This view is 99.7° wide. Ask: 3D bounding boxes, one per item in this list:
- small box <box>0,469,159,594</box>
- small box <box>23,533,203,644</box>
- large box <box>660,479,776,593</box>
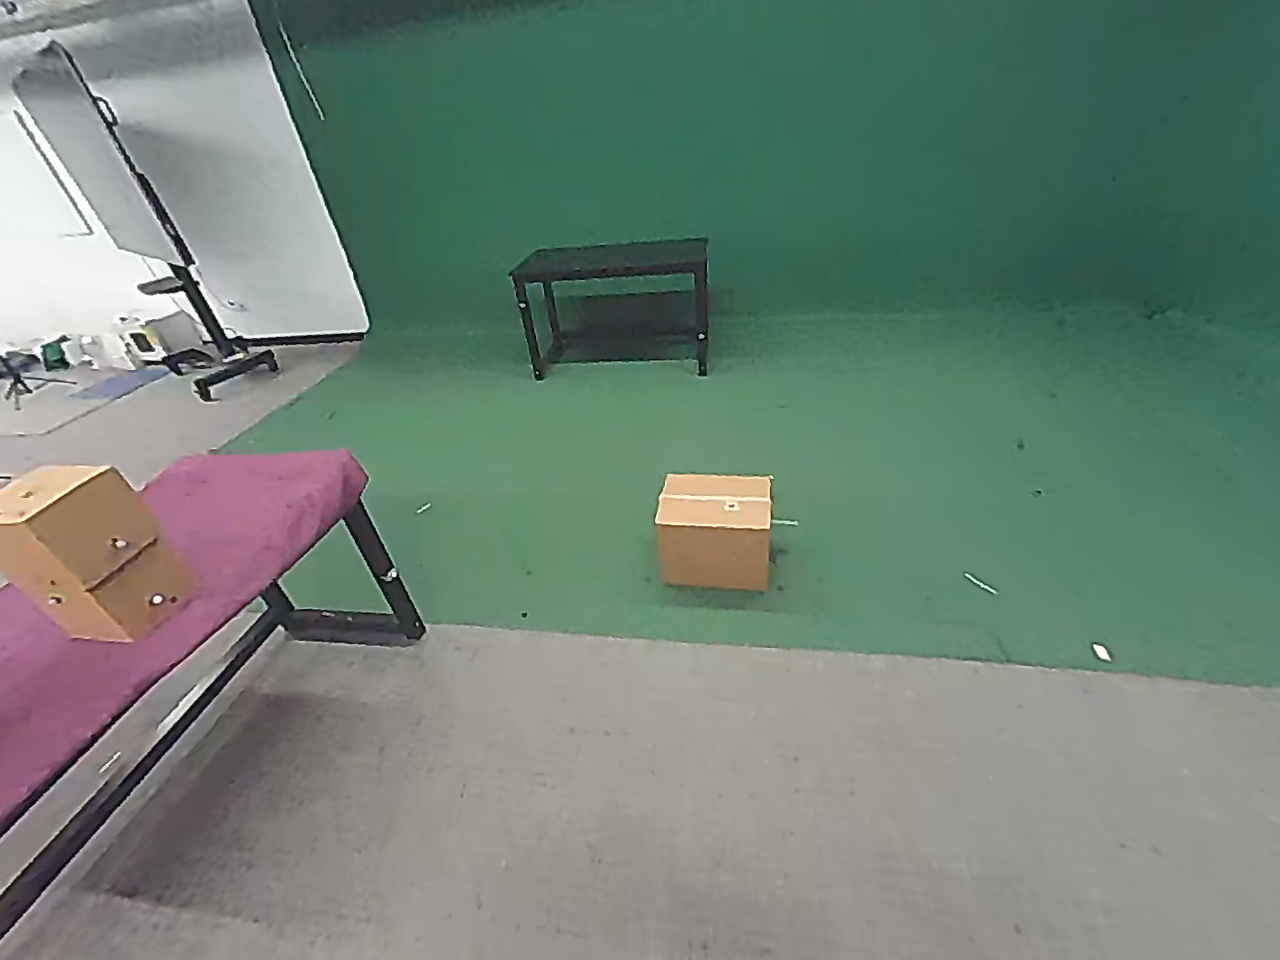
[{"bbox_3d":[-1.083,0.094,1.032,0.168,0.176,0.179,0,35,10],"label":"small box"},{"bbox_3d":[-1.091,0.224,1.135,0.179,0.176,0.168,2,36,12],"label":"small box"},{"bbox_3d":[0.303,0.208,2.062,0.408,0.320,0.320,2,36,13],"label":"large box"}]
